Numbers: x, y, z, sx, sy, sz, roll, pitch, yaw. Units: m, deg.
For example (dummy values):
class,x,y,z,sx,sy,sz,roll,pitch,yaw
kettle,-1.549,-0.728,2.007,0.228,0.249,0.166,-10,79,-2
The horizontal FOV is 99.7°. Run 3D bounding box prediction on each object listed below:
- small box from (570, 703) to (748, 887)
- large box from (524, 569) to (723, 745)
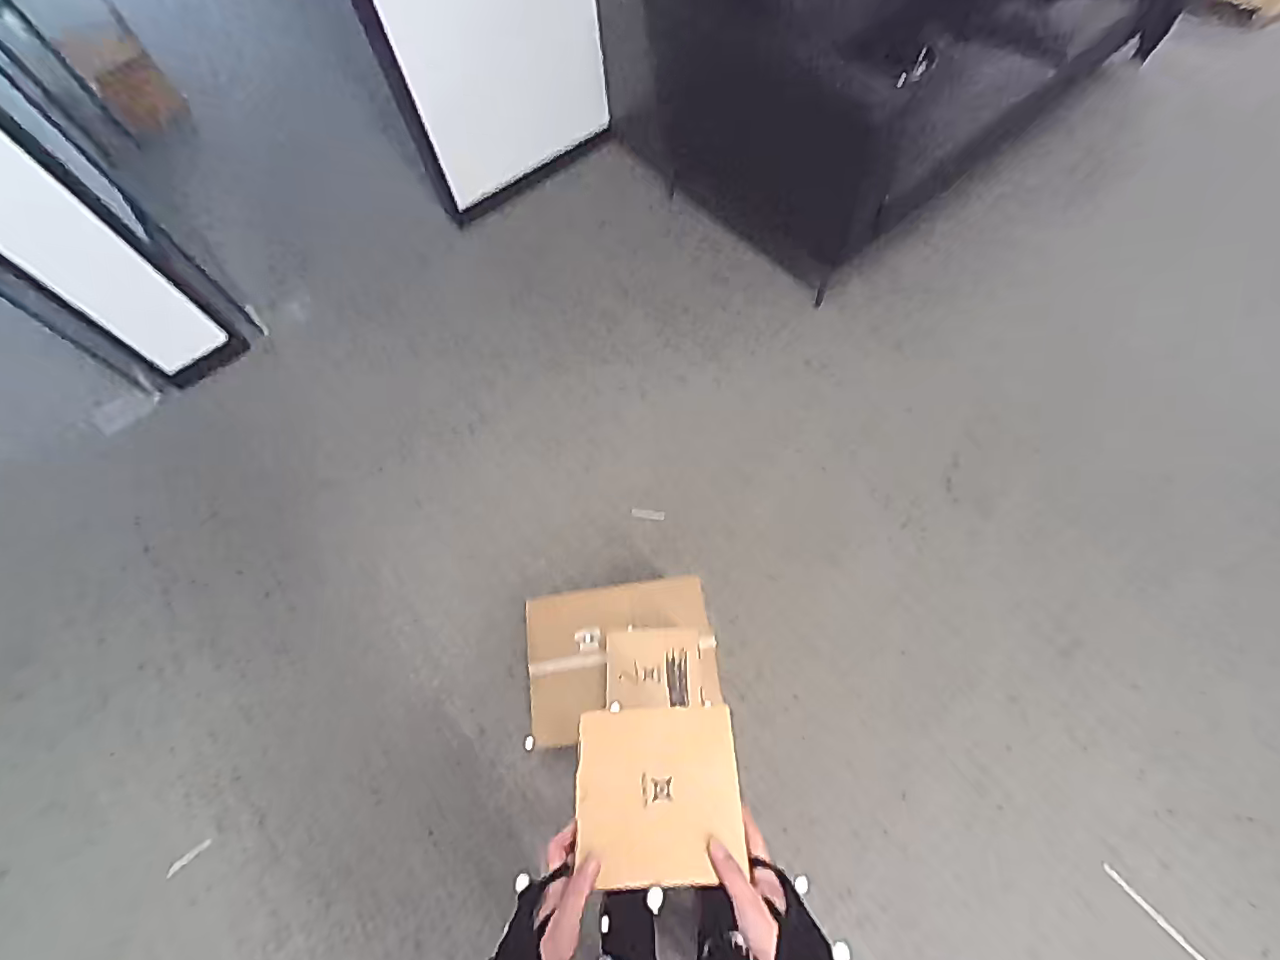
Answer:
class,x,y,z,sx,sy,sz,roll,pitch,yaw
small box,0.019,0.367,0.634,0.179,0.176,0.168,-4,55,2
large box,-0.035,0.432,1.299,0.408,0.320,0.320,-9,64,0
